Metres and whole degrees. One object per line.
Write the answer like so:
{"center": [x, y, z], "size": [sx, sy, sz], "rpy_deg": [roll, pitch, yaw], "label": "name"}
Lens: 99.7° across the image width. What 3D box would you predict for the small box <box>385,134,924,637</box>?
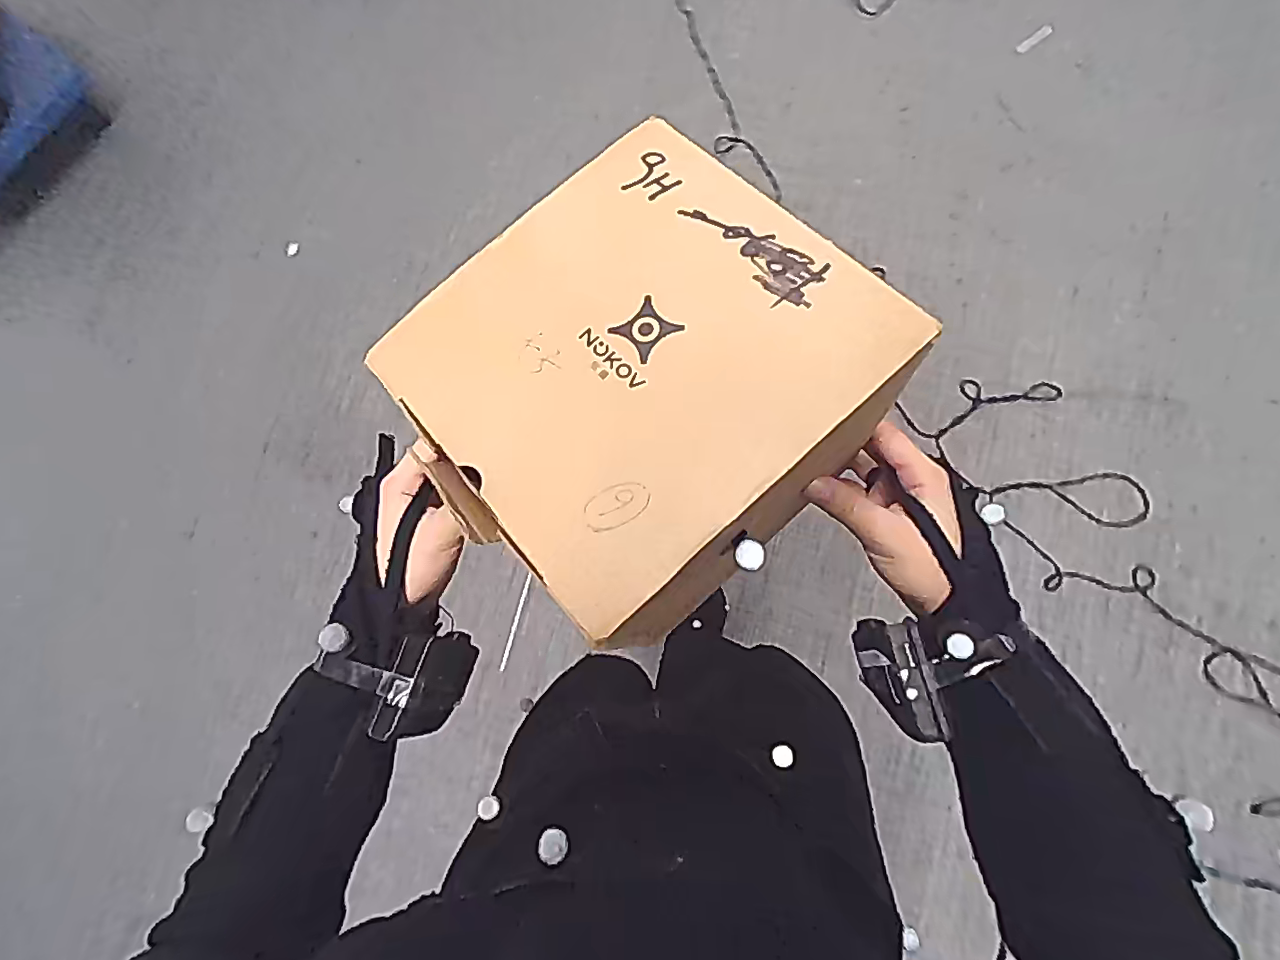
{"center": [0.010, -0.030, 0.303], "size": [0.179, 0.176, 0.168], "rpy_deg": [-41, 72, -4], "label": "small box"}
